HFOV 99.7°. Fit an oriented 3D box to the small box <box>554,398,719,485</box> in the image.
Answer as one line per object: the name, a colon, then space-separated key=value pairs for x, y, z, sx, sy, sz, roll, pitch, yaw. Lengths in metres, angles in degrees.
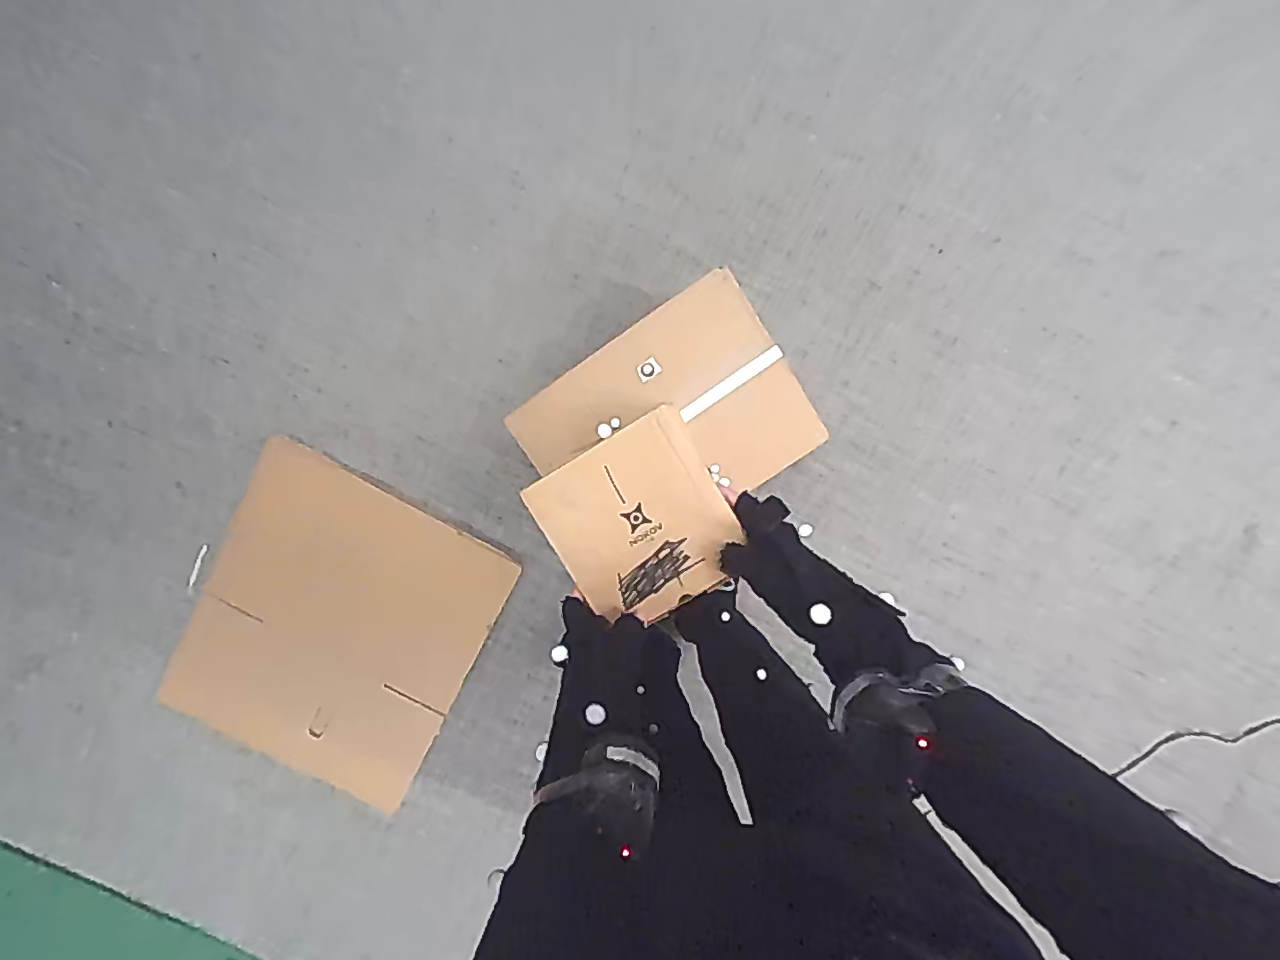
small box: x=0.007 y=0.001 z=0.763 sx=0.179 sy=0.176 sz=0.168 roll=-29 pitch=94 yaw=5

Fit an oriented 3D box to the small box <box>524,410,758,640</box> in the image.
small box: x=0.005 y=0.034 z=0.599 sx=0.168 sy=0.176 sz=0.179 roll=-35 pitch=96 yaw=7
